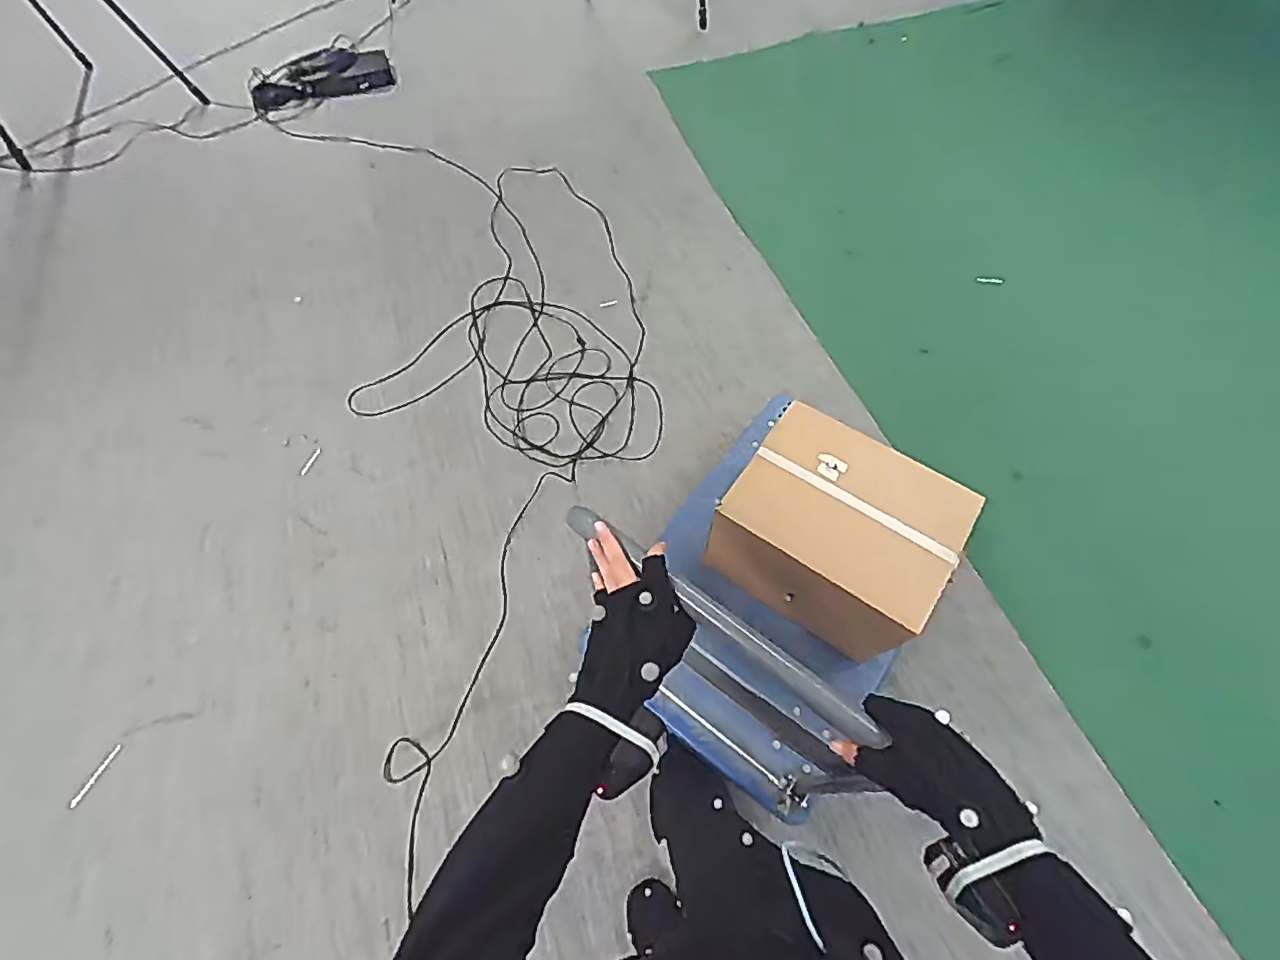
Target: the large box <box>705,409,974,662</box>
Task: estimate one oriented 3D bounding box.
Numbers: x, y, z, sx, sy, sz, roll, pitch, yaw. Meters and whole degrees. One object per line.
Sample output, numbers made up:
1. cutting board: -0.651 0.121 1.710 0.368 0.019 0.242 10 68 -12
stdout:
1. large box: 0.393 0.126 1.156 0.408 0.320 0.320 32 67 18
